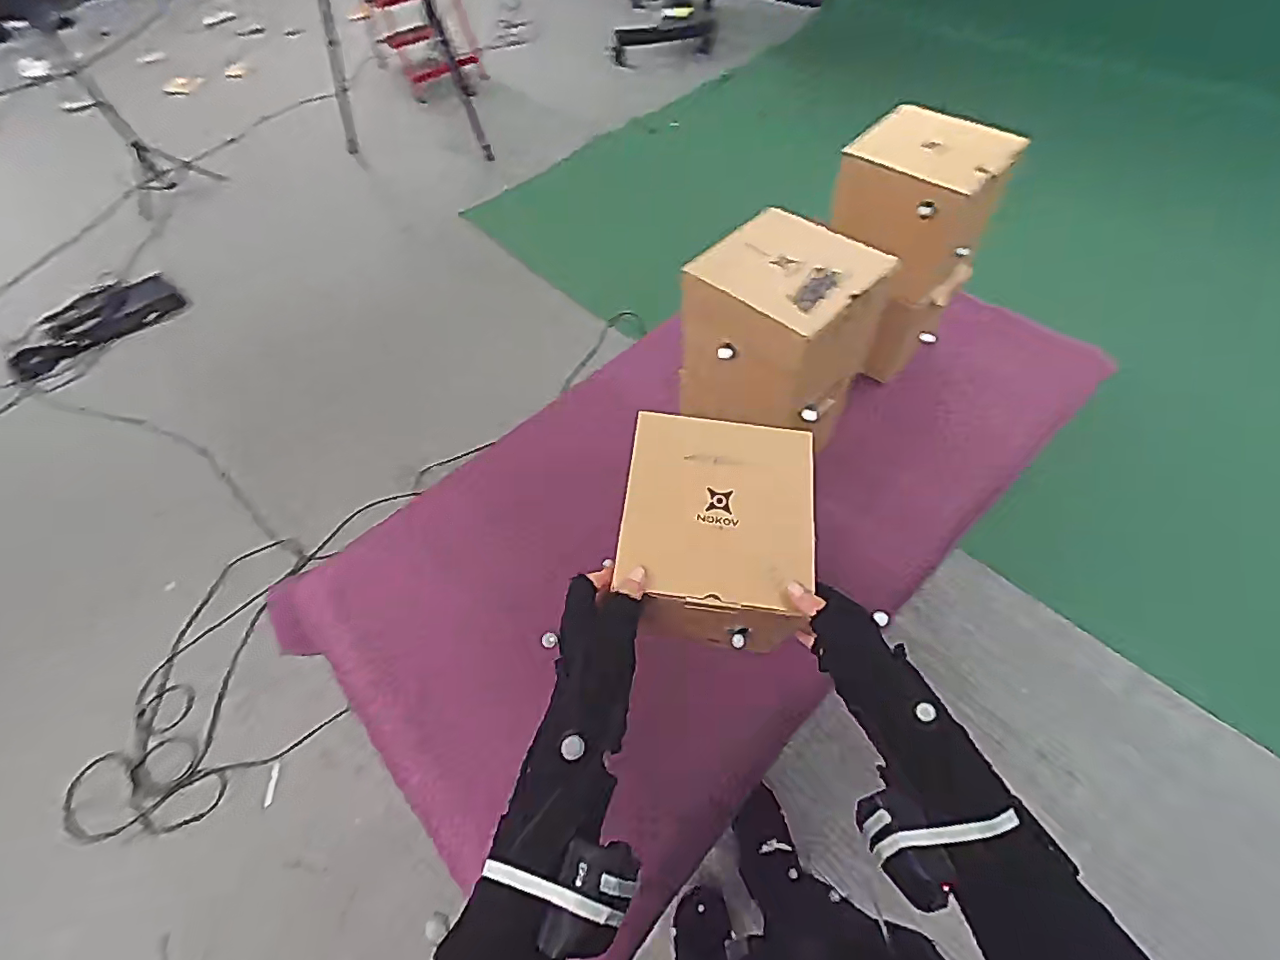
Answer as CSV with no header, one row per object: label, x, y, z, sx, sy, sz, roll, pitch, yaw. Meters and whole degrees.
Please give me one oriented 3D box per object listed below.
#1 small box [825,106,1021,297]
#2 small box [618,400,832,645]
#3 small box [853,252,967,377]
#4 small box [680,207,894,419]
small box,0.389,-0.398,0.783,0.179,0.176,0.168,37,67,23
small box,0.075,0.051,0.520,0.168,0.176,0.179,8,63,2
small box,0.399,-0.307,0.917,0.179,0.176,0.168,37,68,23
small box,0.167,-0.193,0.665,0.168,0.176,0.179,-40,62,-20
